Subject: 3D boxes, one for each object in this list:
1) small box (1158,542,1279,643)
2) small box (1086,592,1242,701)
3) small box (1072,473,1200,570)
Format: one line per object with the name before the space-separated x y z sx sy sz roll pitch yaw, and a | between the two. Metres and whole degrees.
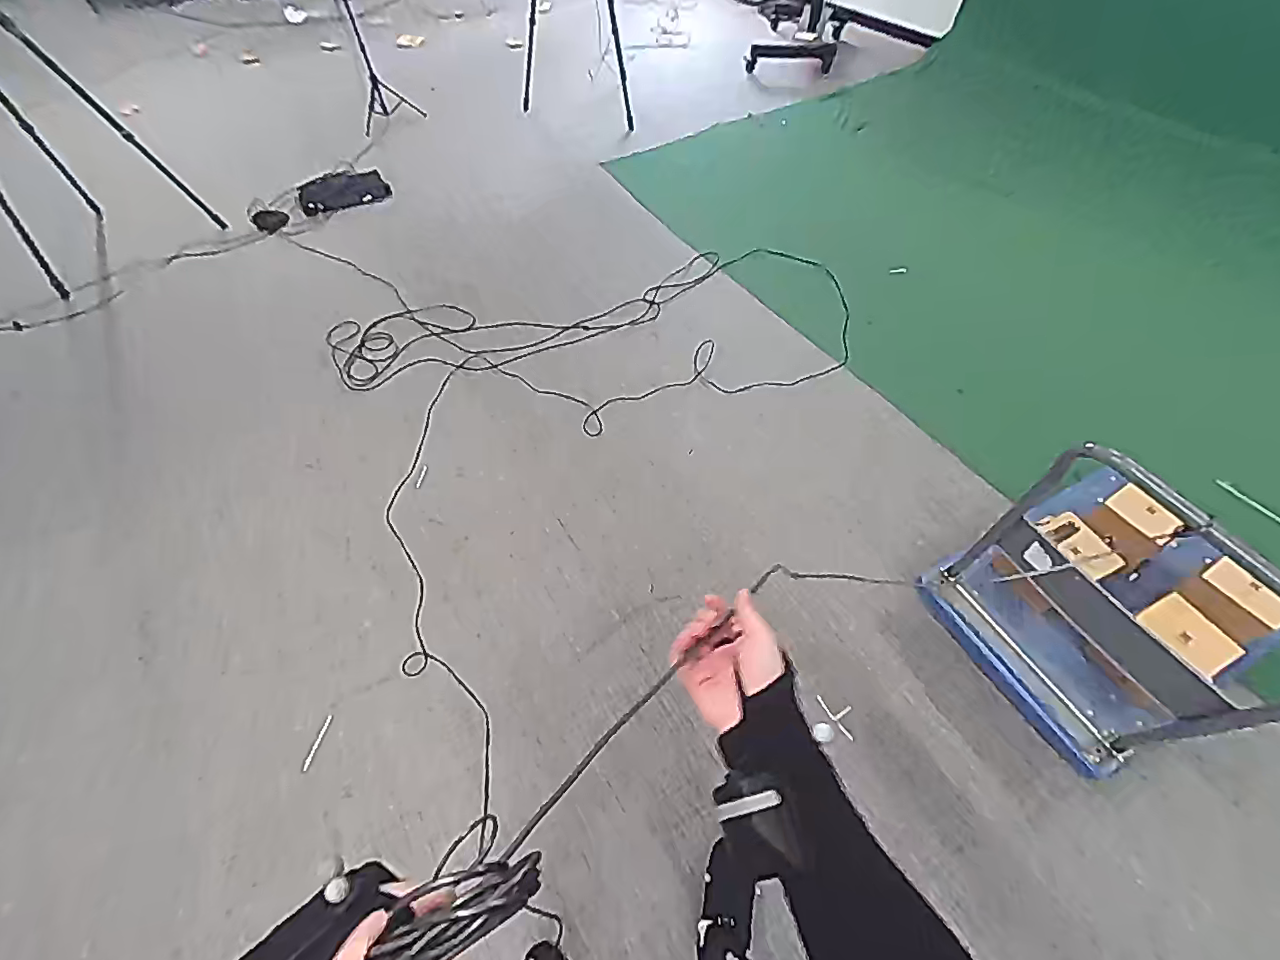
small box | 1.477 0.291 1.357 0.179 0.176 0.168 -28 58 -15
small box | 1.238 0.401 1.294 0.179 0.176 0.168 -24 57 -13
small box | 1.344 0.119 1.484 0.179 0.176 0.168 -28 59 -16
